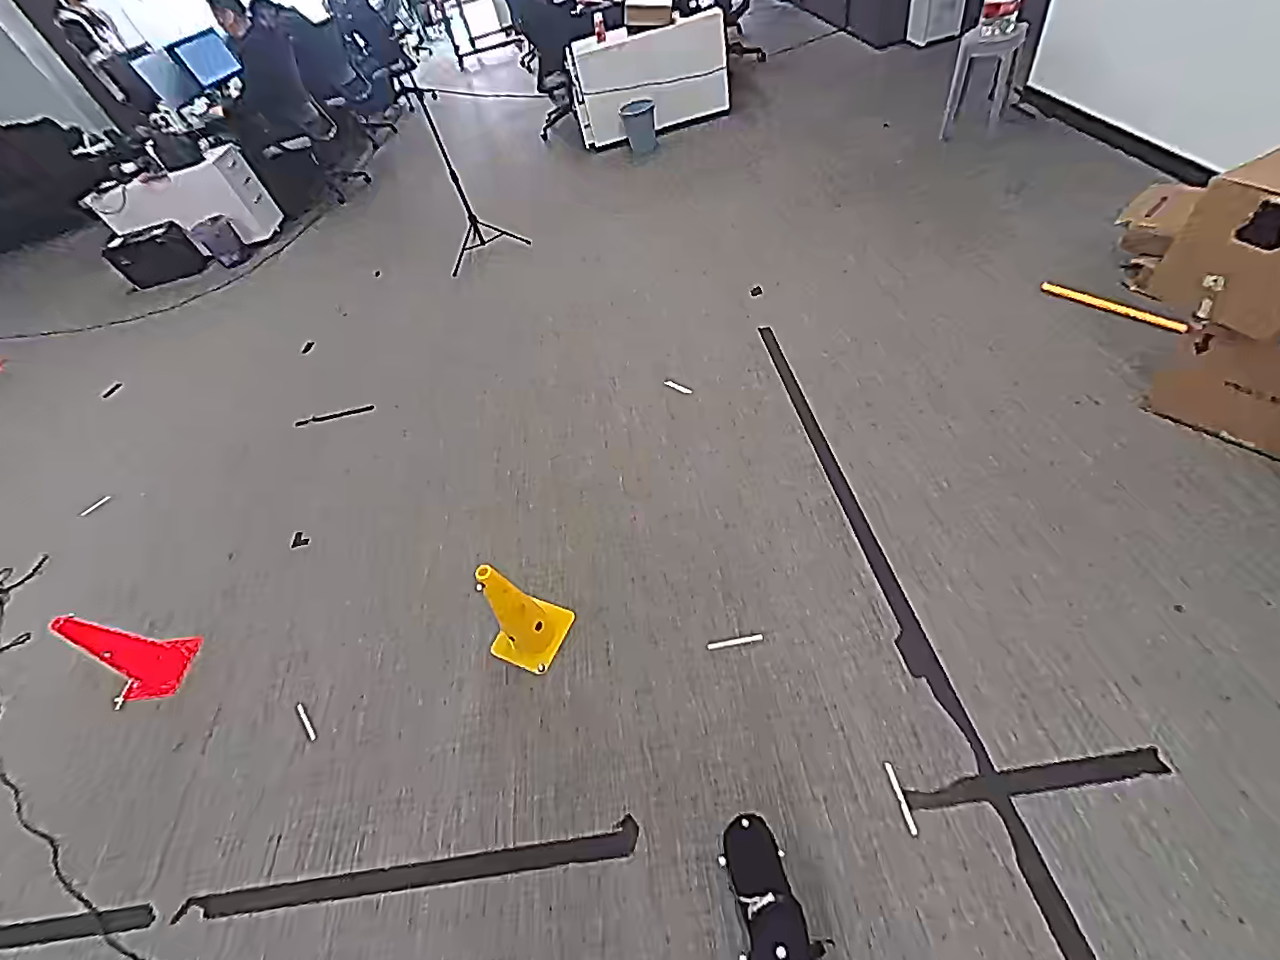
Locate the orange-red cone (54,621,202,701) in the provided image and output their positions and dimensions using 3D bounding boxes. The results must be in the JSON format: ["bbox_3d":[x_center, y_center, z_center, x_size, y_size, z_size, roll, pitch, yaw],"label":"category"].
[{"bbox_3d":[-1.619,0.527,1.675,0.199,0.360,0.198,-6,50,9],"label":"orange-red cone"}]
